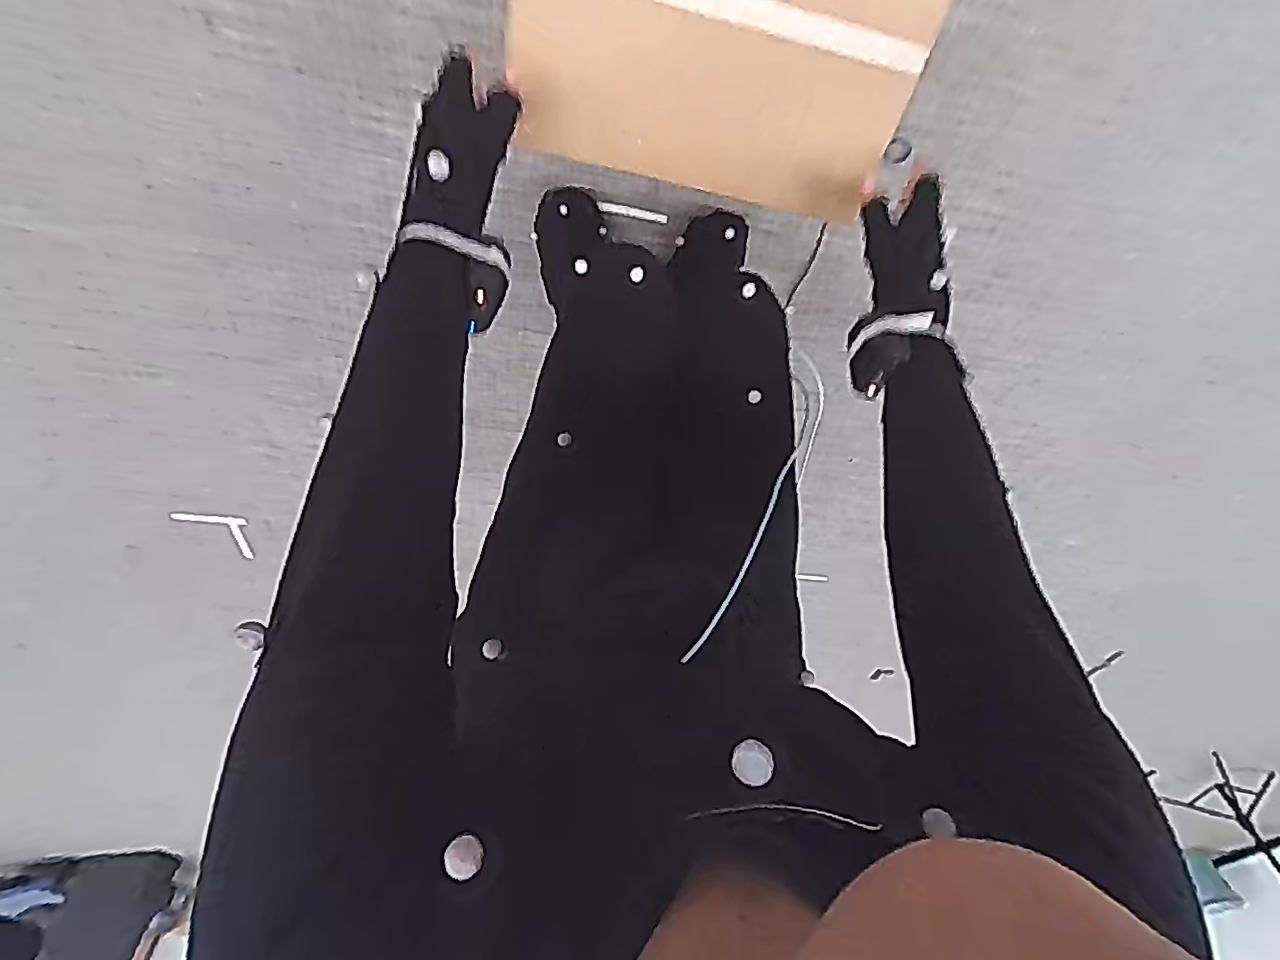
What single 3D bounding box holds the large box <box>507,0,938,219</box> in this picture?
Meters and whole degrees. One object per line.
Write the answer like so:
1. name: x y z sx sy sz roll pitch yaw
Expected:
1. large box: 0.082 -0.550 0.631 0.408 0.320 0.320 10 130 -8
